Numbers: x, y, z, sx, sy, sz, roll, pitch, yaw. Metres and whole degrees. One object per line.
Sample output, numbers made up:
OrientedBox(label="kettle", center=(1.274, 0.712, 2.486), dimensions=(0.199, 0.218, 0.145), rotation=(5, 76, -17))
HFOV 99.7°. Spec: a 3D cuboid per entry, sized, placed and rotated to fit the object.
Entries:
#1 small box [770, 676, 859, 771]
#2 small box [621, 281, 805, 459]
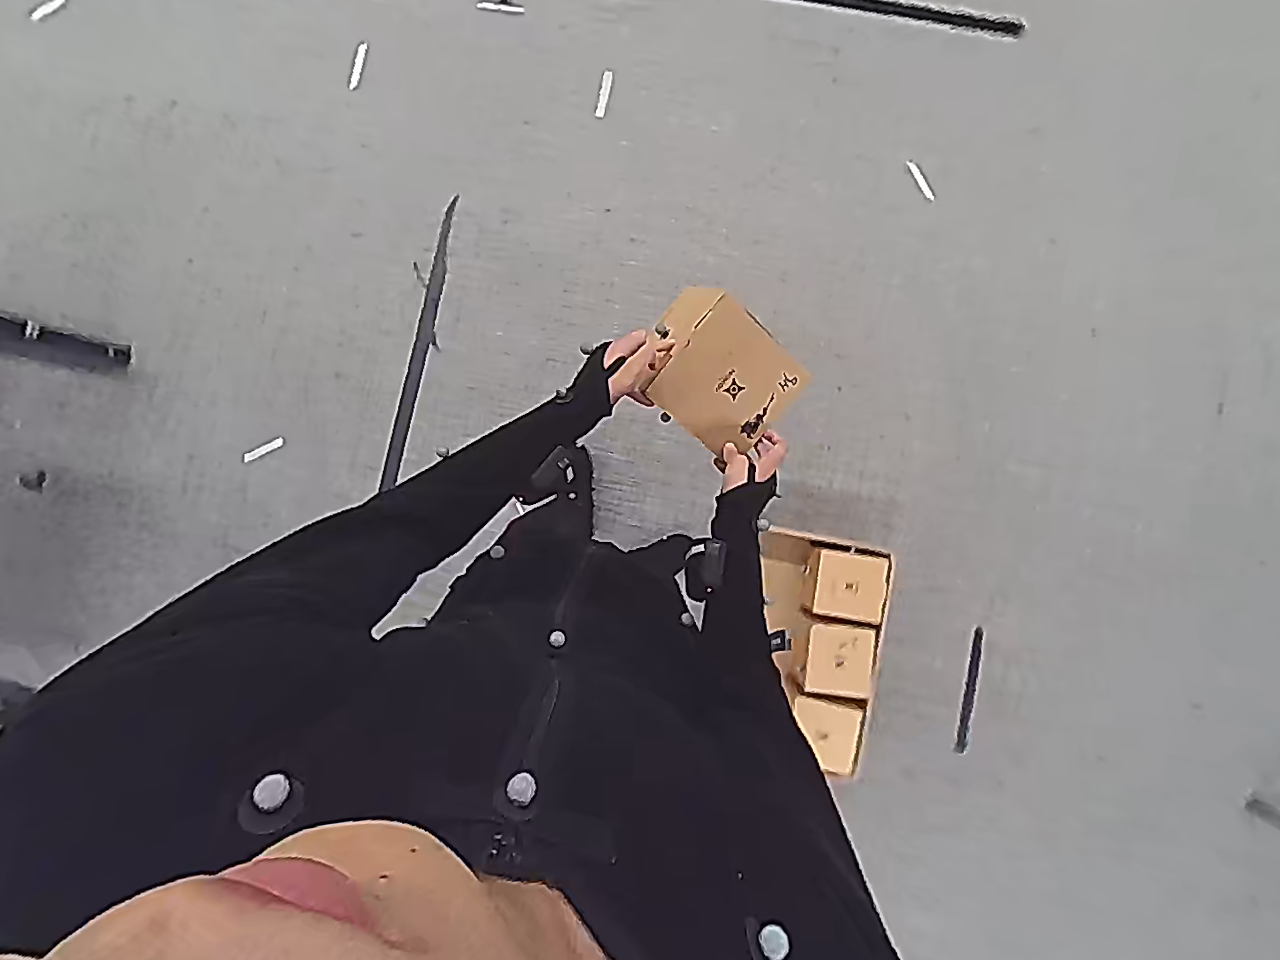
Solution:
OrientedBox(label="small box", center=(0.467, 0.651, 1.469), dimensions=(0.179, 0.176, 0.168), rotation=(12, 87, 6))
OrientedBox(label="small box", center=(0.093, -0.161, 0.779), dimensions=(0.179, 0.176, 0.168), rotation=(36, 99, -21))
